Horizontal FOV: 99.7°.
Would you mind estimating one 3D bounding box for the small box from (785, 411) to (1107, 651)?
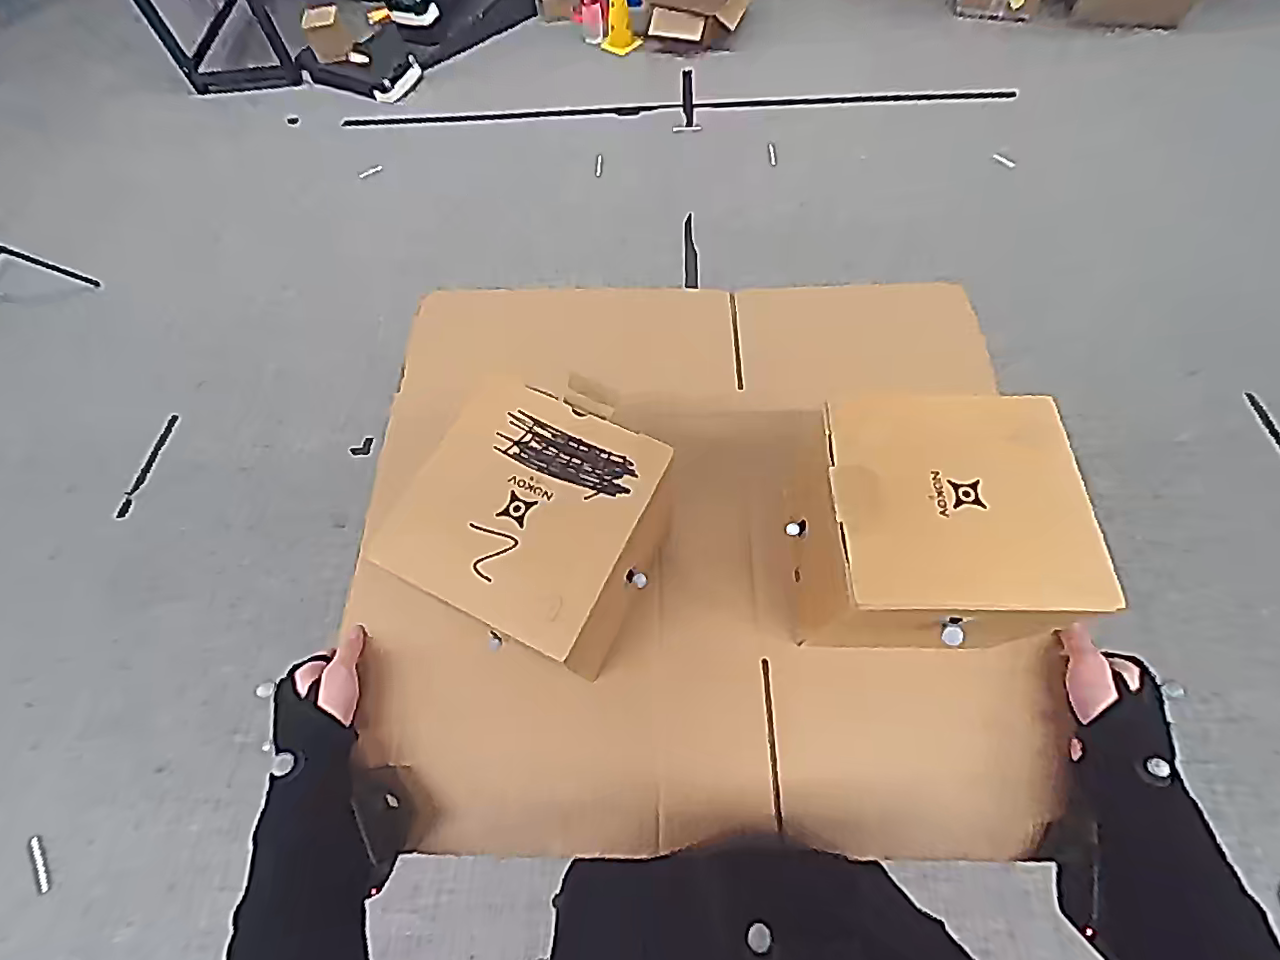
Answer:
[{"bbox_3d":[0.237,0.053,0.475,0.179,0.176,0.168,0,65,4],"label":"small box"}]
